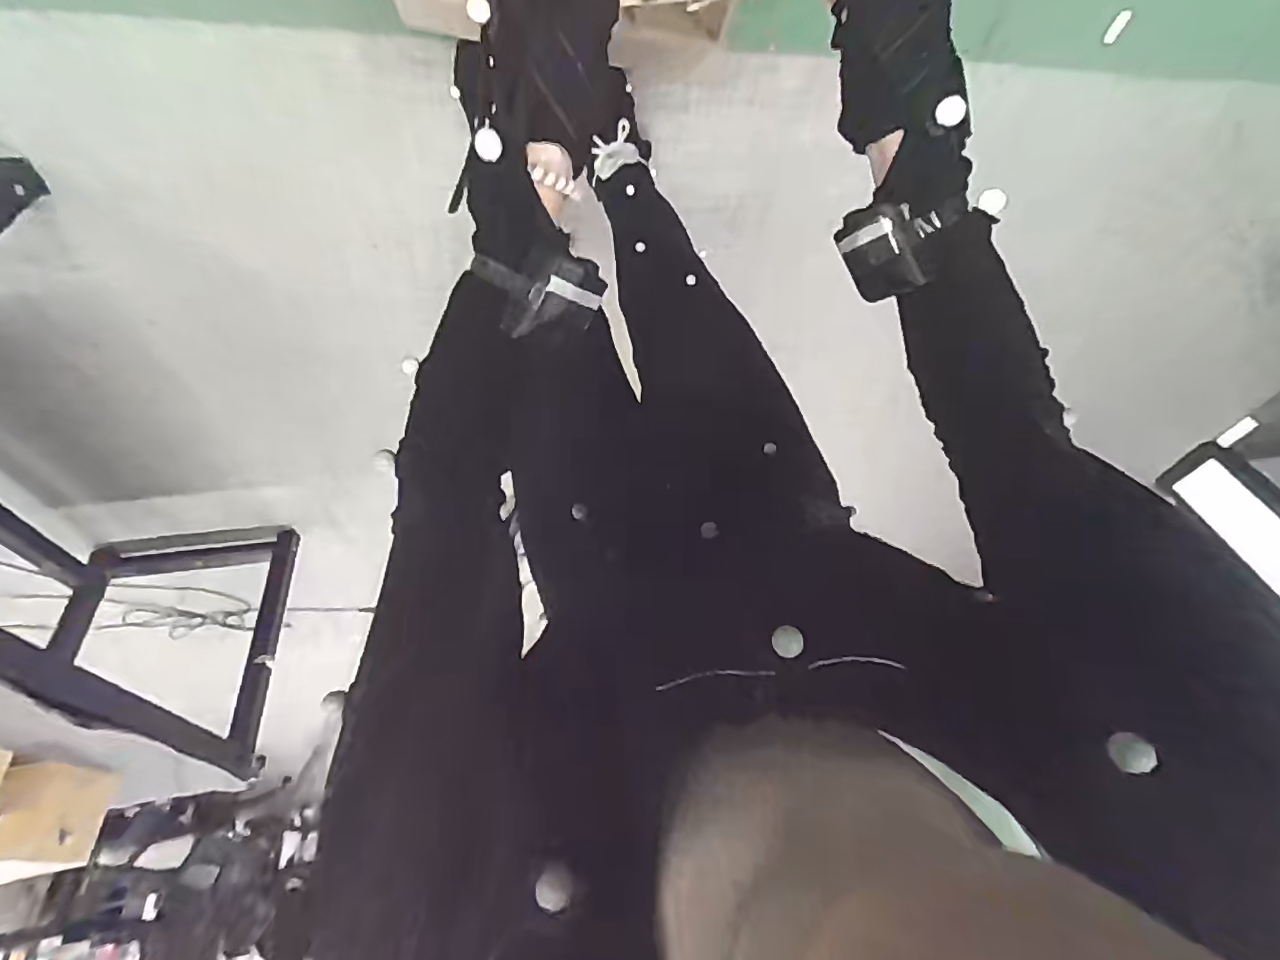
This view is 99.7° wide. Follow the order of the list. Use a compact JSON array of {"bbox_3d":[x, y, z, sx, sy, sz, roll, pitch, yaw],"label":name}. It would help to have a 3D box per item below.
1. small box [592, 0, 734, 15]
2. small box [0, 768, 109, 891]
[{"bbox_3d":[0.040,-0.404,0.326,0.168,0.176,0.179,-8,129,0],"label":"small box"},{"bbox_3d":[-1.192,0.666,1.032,0.168,0.176,0.179,-9,143,-7],"label":"small box"}]
